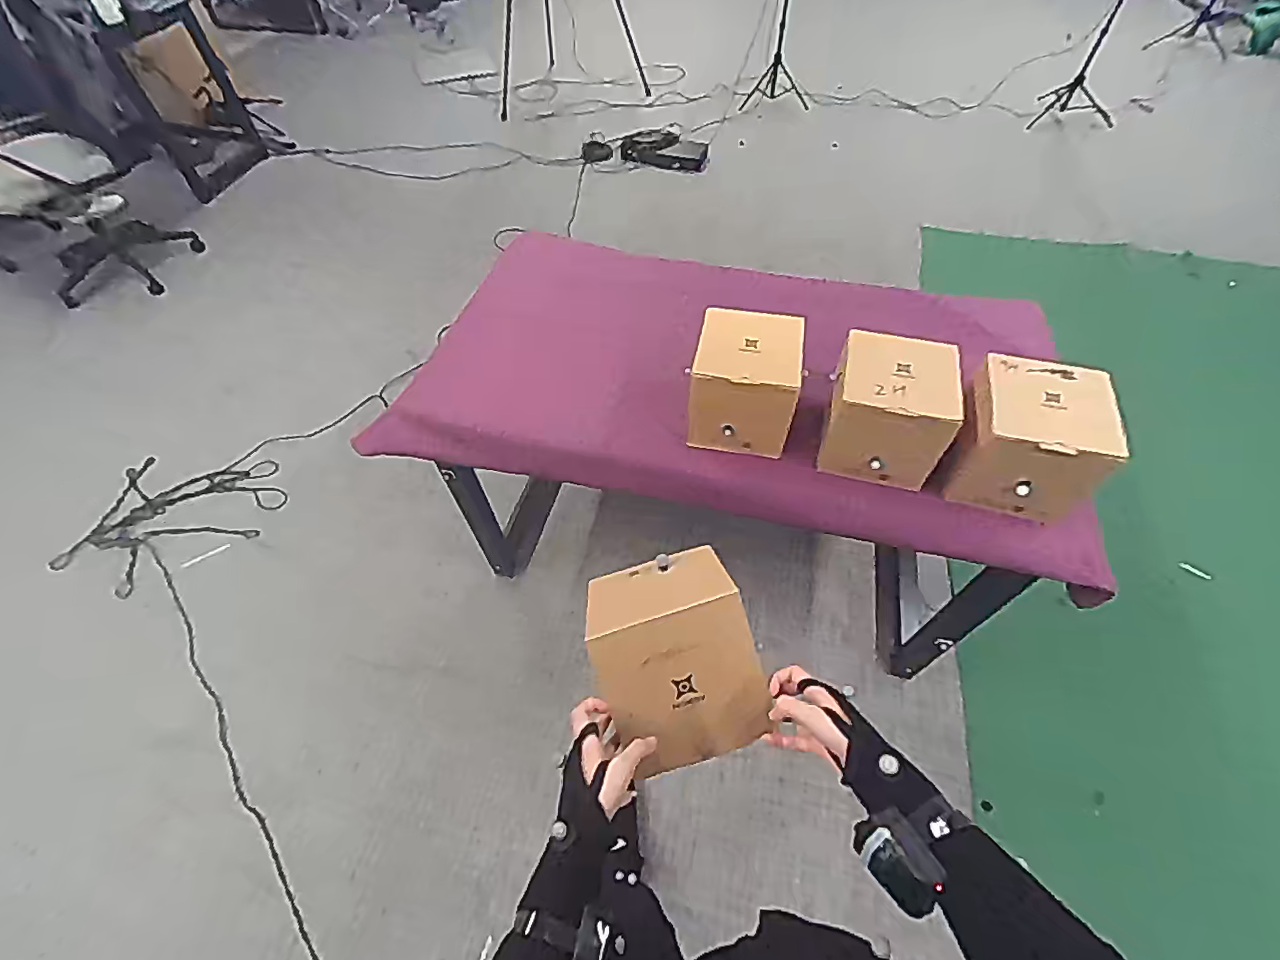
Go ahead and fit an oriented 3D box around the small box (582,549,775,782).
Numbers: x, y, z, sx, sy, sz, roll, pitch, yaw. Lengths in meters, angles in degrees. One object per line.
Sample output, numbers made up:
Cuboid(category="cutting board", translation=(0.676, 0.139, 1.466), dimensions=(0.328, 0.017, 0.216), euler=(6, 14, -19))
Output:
Cuboid(category="small box", translation=(0.040, 0.204, 0.635), dimensions=(0.168, 0.179, 0.176), euler=(-18, 11, 0))
